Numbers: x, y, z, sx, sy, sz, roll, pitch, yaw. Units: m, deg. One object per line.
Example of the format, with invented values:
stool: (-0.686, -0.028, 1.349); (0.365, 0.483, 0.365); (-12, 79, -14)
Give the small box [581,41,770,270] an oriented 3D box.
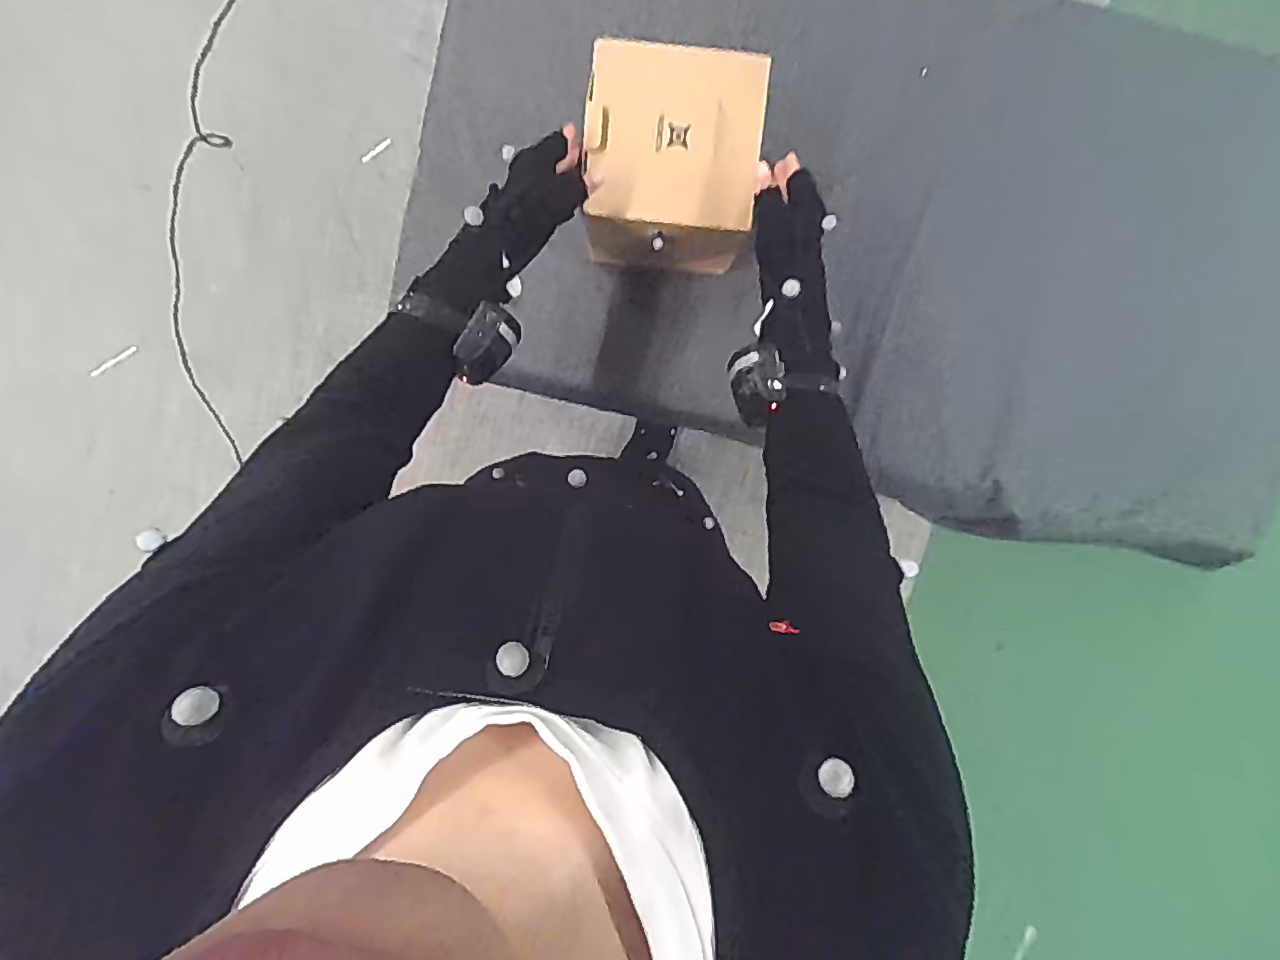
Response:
small box: (0.033, -0.350, 0.618); (0.179, 0.176, 0.168); (5, 97, -2)
